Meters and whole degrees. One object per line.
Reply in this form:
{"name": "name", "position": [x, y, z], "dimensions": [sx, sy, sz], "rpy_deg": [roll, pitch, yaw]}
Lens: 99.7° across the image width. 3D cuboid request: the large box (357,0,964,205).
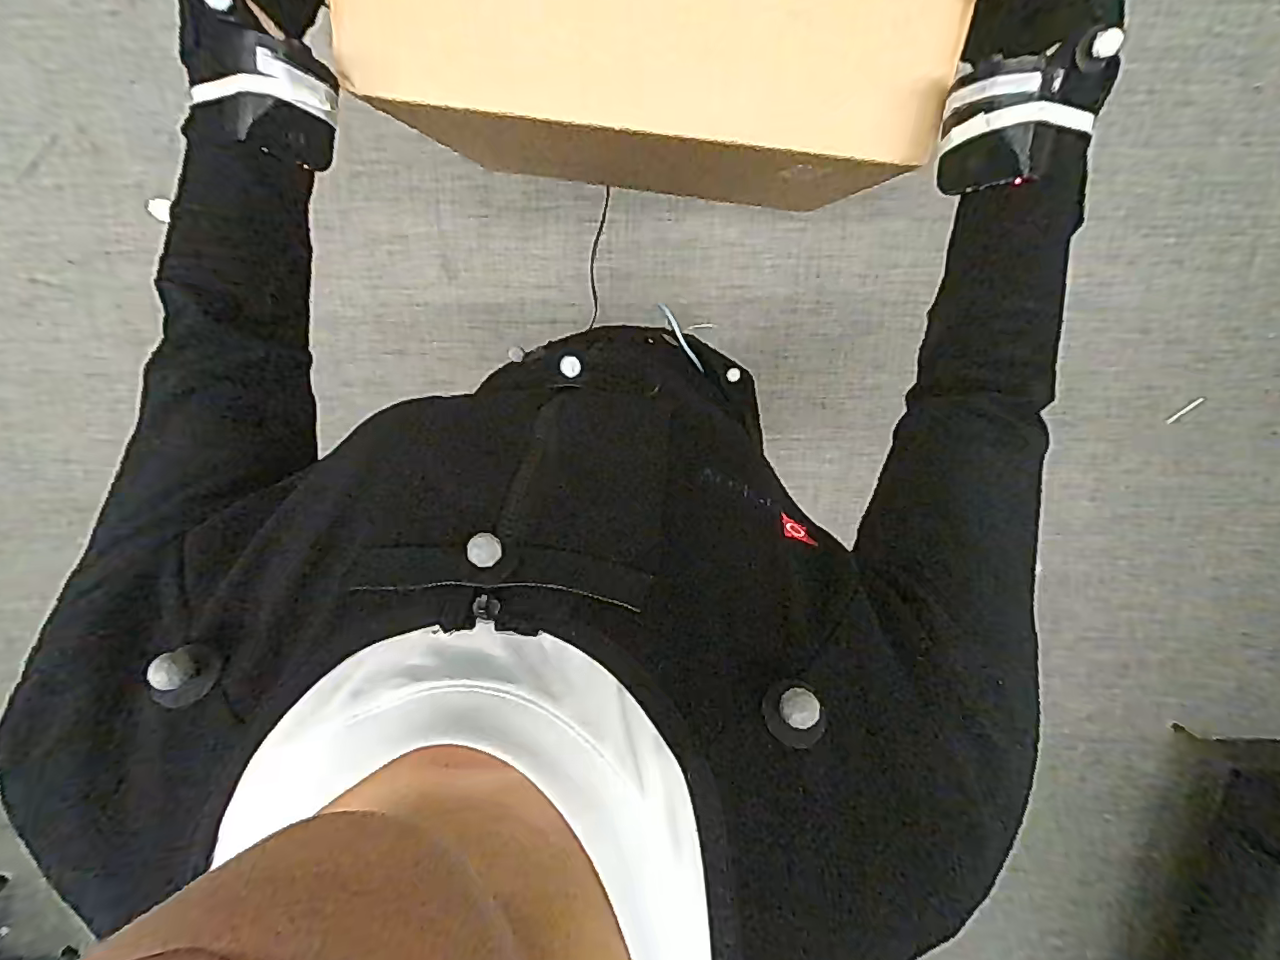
{"name": "large box", "position": [0.023, -0.442, 0.463], "dimensions": [0.408, 0.320, 0.320], "rpy_deg": [7, 111, 0]}
